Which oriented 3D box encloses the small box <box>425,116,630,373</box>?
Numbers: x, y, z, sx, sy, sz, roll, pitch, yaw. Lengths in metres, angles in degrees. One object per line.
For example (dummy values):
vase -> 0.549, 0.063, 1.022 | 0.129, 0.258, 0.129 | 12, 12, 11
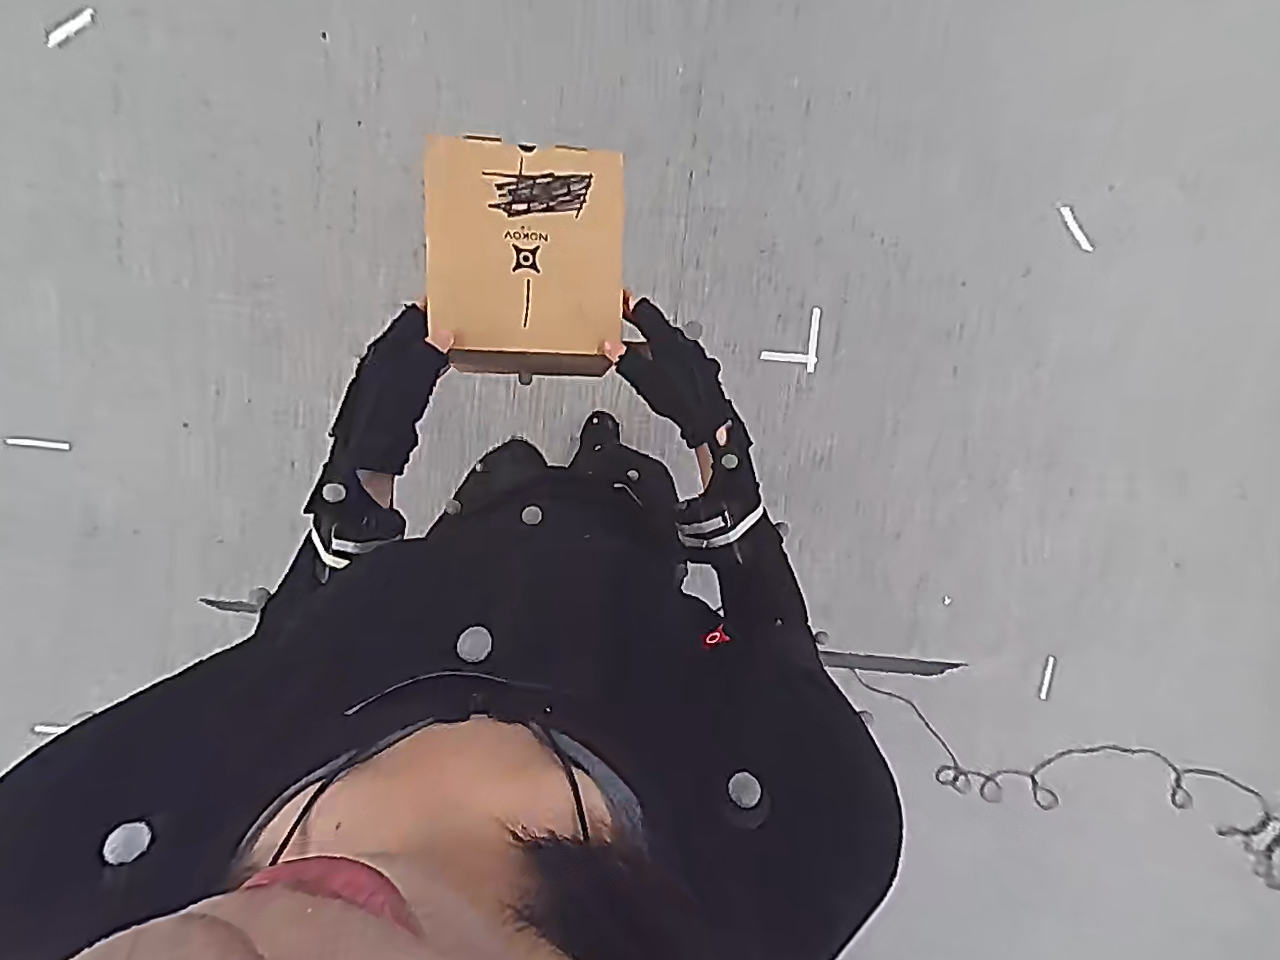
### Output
small box -> -0.105, -0.207, 0.526 | 0.168, 0.176, 0.179 | 1, 94, -9
